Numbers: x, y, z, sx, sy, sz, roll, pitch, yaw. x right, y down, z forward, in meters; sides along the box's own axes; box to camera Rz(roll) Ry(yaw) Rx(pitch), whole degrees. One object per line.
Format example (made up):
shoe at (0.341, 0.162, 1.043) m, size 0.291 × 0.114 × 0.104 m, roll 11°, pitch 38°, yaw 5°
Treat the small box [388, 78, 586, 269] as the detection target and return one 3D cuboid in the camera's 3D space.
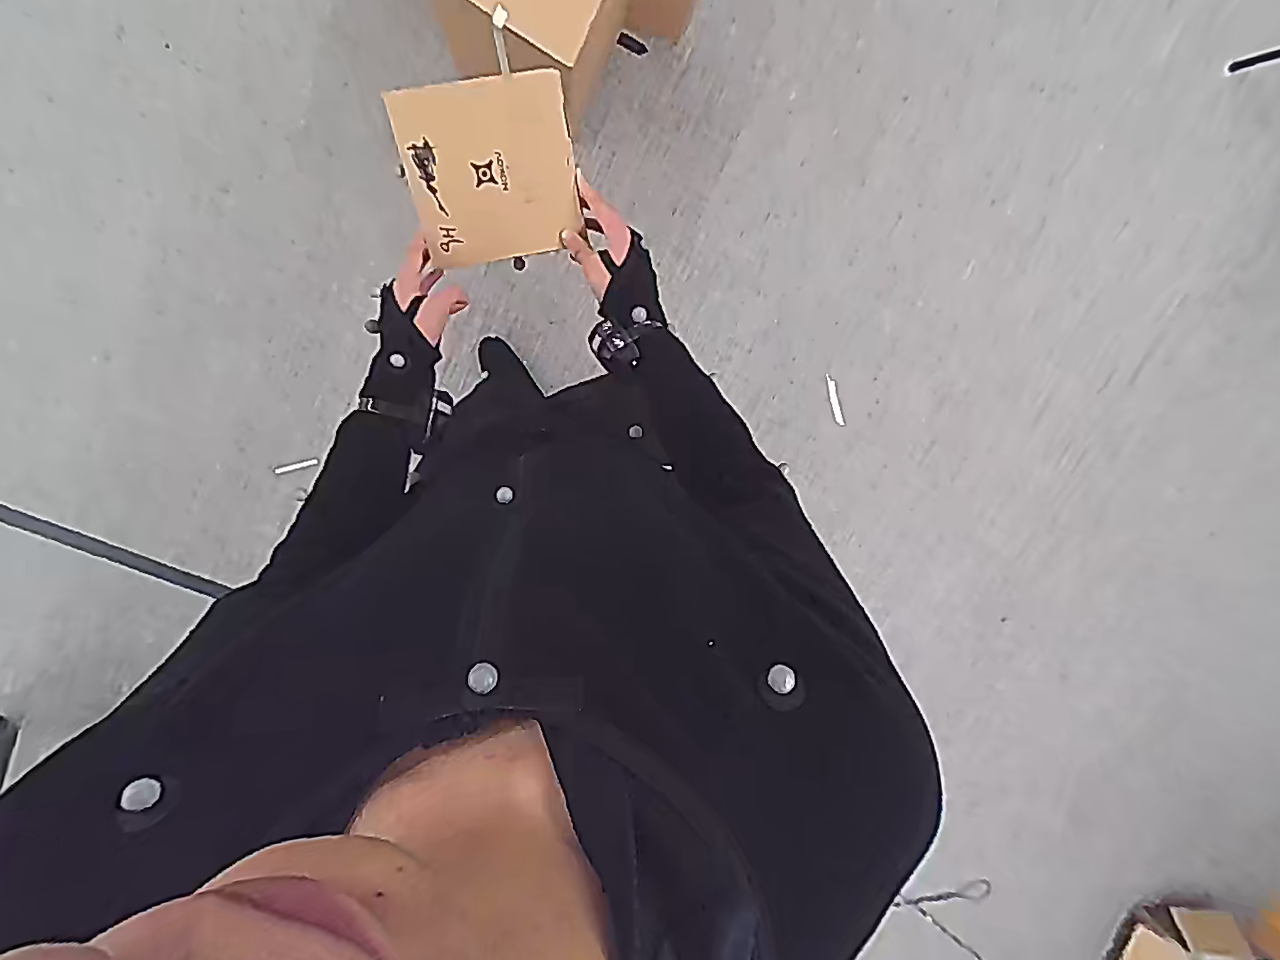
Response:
small box at (-0.170, -0.357, 0.649) m, size 0.179 × 0.176 × 0.168 m, roll -11°, pitch 115°, yaw -5°
